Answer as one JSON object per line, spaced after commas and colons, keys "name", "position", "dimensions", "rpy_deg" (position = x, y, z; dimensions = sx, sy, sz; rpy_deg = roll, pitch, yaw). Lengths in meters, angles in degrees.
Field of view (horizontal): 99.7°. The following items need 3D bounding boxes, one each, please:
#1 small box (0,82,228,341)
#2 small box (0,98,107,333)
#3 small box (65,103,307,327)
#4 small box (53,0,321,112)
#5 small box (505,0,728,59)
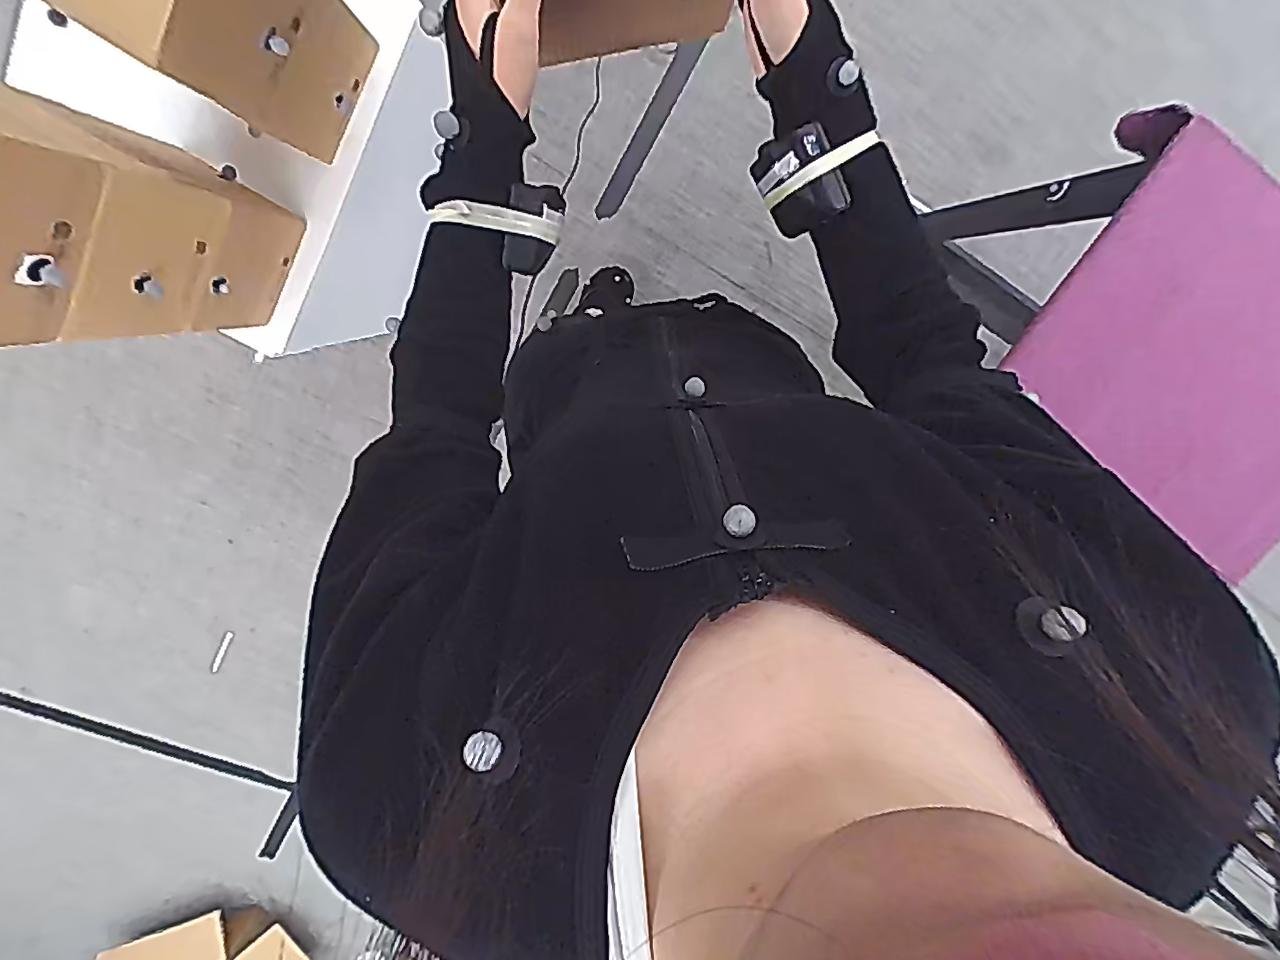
{"name": "small box", "position": [-0.546, -0.254, 0.513], "dimensions": [0.179, 0.176, 0.168], "rpy_deg": [27, 104, -13]}
{"name": "small box", "position": [-0.533, -0.204, 0.359], "dimensions": [0.179, 0.176, 0.168], "rpy_deg": [27, 105, -14]}
{"name": "small box", "position": [-0.561, -0.306, 0.666], "dimensions": [0.179, 0.176, 0.168], "rpy_deg": [29, 105, -12]}
{"name": "small box", "position": [-0.413, -0.455, 0.454], "dimensions": [0.179, 0.176, 0.168], "rpy_deg": [30, 105, -15]}
{"name": "small box", "position": [-0.020, -0.421, 0.361], "dimensions": [0.179, 0.176, 0.168], "rpy_deg": [-9, 109, 2]}
